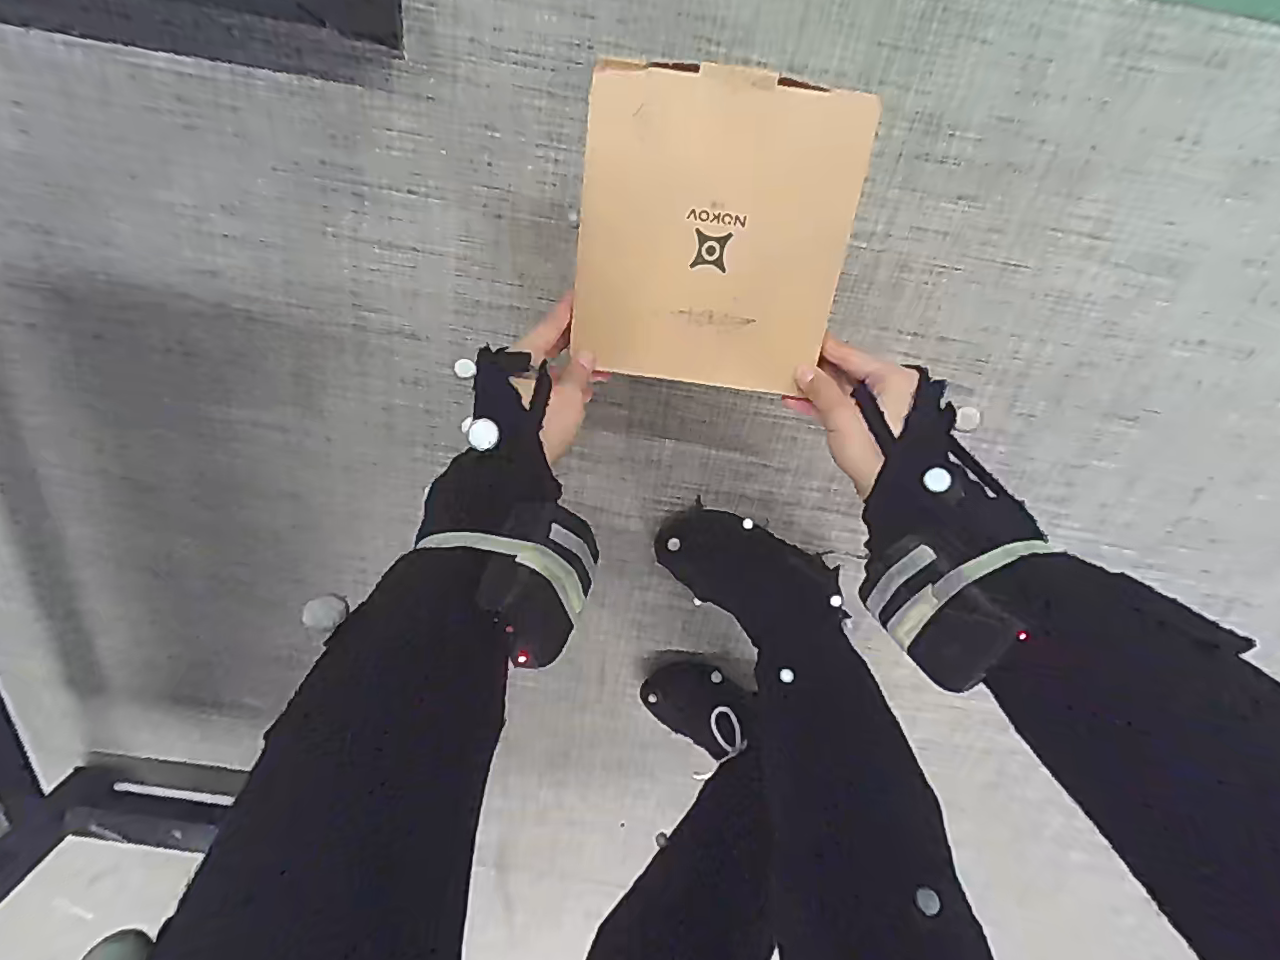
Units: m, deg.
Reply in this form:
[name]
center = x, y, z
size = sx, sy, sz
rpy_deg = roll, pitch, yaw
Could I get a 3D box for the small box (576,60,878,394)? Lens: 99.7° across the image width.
[small box]
center = 0.049, -0.178, 0.411
size = 0.168, 0.176, 0.179
rpy_deg = 7, 113, 0
